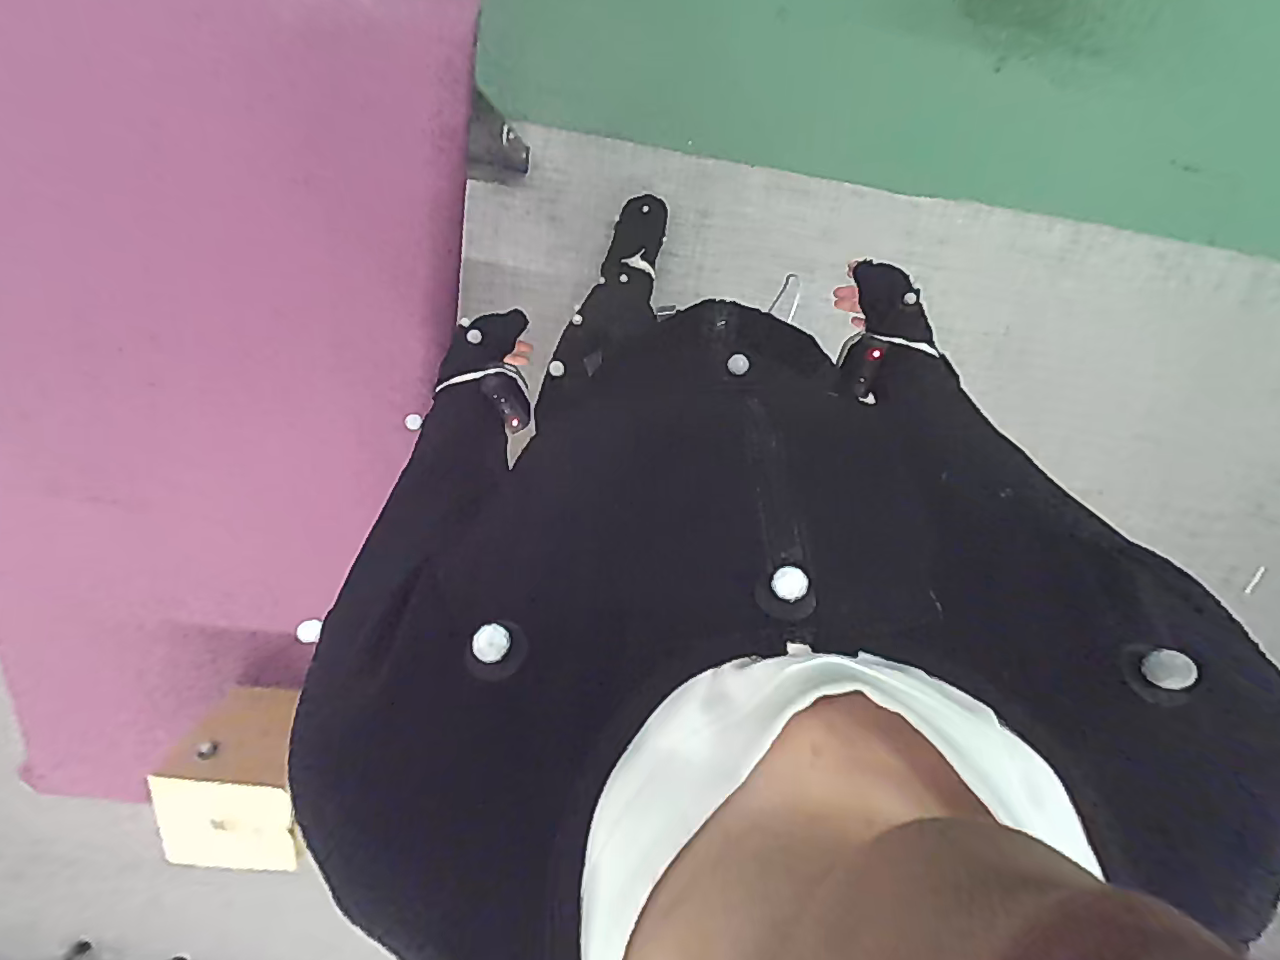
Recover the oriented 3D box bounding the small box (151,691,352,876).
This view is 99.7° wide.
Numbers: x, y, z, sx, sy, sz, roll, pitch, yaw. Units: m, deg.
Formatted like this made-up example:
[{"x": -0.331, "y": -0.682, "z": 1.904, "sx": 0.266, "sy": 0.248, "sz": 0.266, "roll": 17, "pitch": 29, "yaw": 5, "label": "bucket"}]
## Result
[{"x": -0.554, "y": 0.437, "z": 0.797, "sx": 0.179, "sy": 0.176, "sz": 0.168, "roll": 8, "pitch": 110, "yaw": -5, "label": "small box"}]
